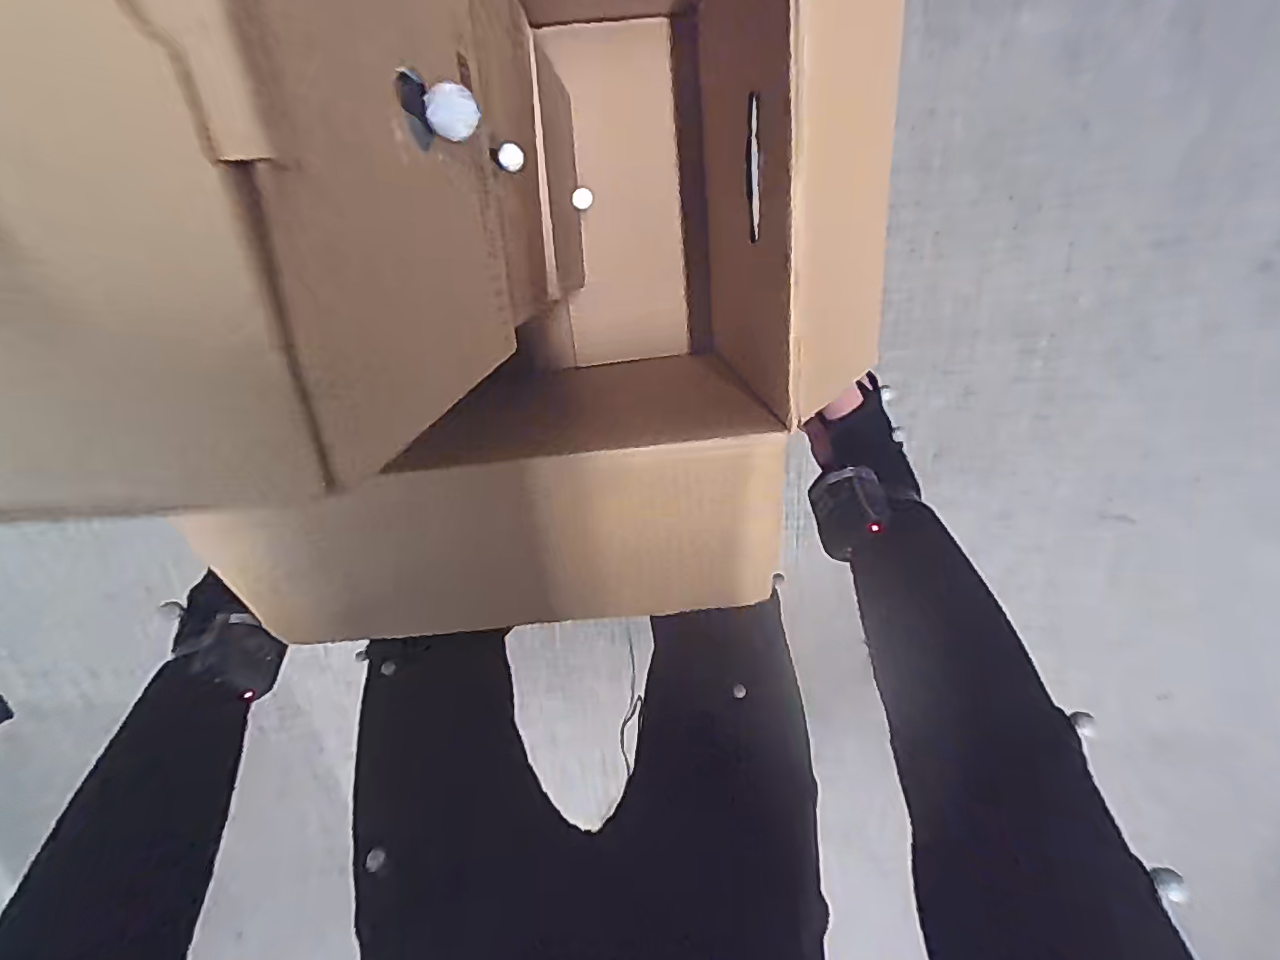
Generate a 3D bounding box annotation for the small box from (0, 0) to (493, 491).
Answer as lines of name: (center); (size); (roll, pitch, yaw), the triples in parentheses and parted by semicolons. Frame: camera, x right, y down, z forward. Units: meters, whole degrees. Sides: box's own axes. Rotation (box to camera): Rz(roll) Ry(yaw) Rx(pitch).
small box: (-0.149, -0.105, 0.150); (0.179, 0.176, 0.168); (-3, 114, 1)
